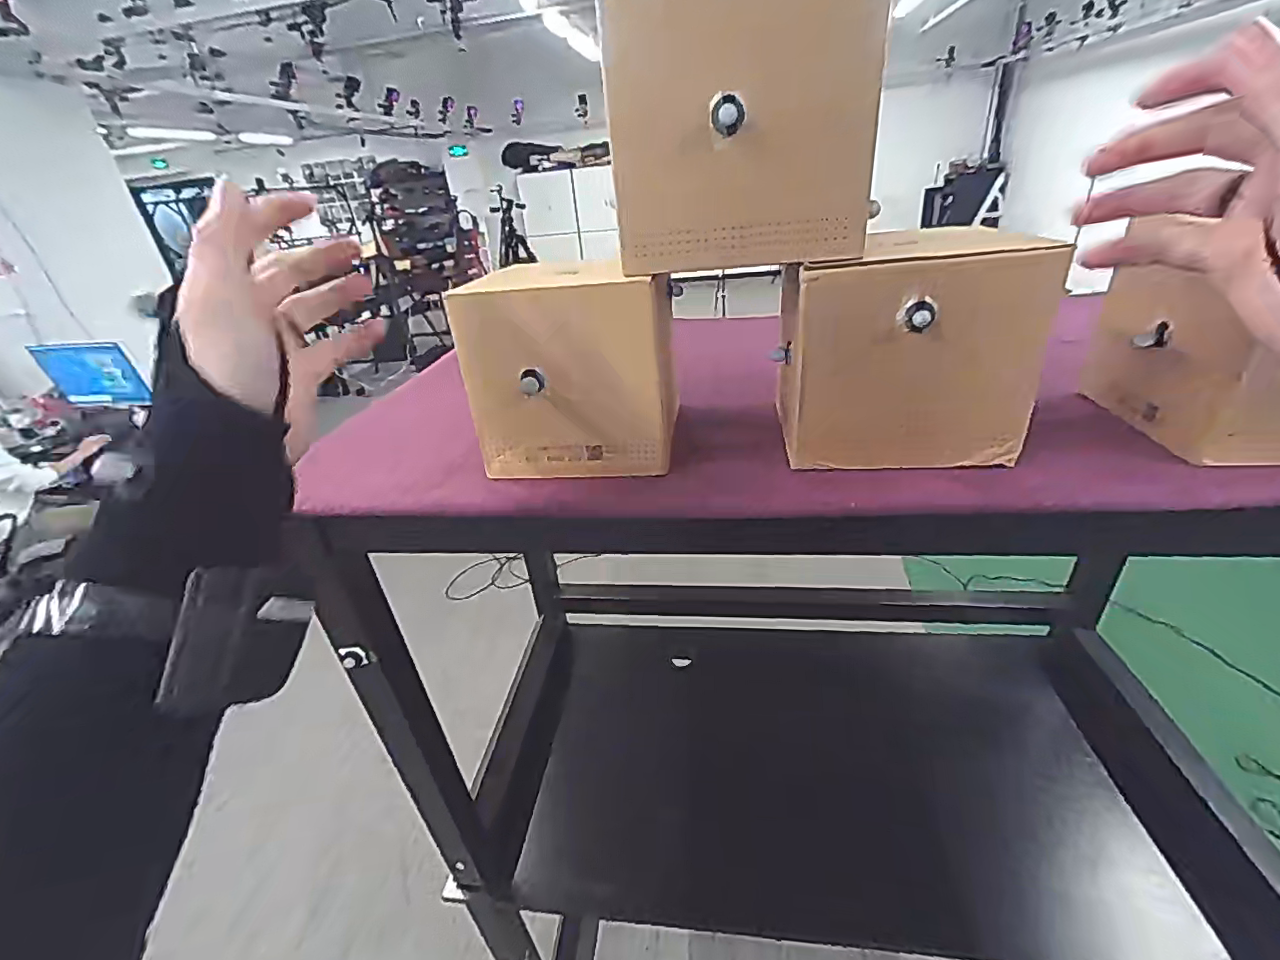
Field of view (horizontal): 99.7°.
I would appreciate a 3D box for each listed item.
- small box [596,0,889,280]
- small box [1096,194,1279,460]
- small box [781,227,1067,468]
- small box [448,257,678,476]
[{"bbox_3d":[0.075,-0.263,0.425,0.179,0.176,0.168,-2,28,8],"label":"small box"},{"bbox_3d":[0.505,-0.123,0.423,0.179,0.176,0.168,-3,30,10],"label":"small box"},{"bbox_3d":[0.218,-0.118,0.475,0.179,0.176,0.168,-1,29,10],"label":"small box"},{"bbox_3d":[-0.052,-0.111,0.517,0.168,0.176,0.179,-1,27,8],"label":"small box"}]
